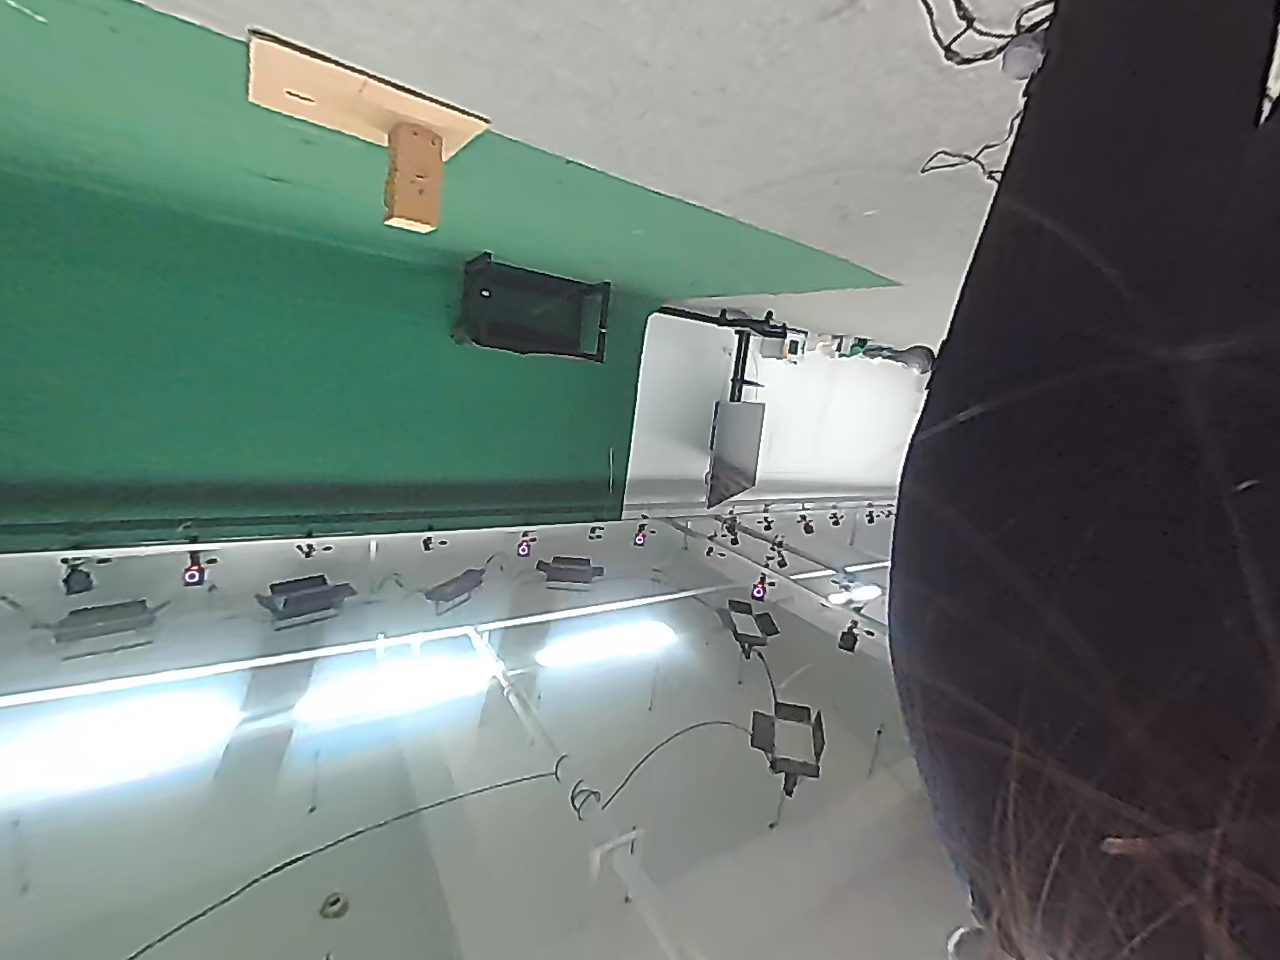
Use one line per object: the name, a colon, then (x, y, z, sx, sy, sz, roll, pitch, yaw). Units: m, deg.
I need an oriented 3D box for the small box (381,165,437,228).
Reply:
small box: (-0.920, -1.128, 2.156, 0.168, 0.176, 0.179, -2, -166, -38)

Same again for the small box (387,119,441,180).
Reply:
small box: (-0.888, -1.283, 2.117, 0.168, 0.176, 0.179, -2, -164, -37)
